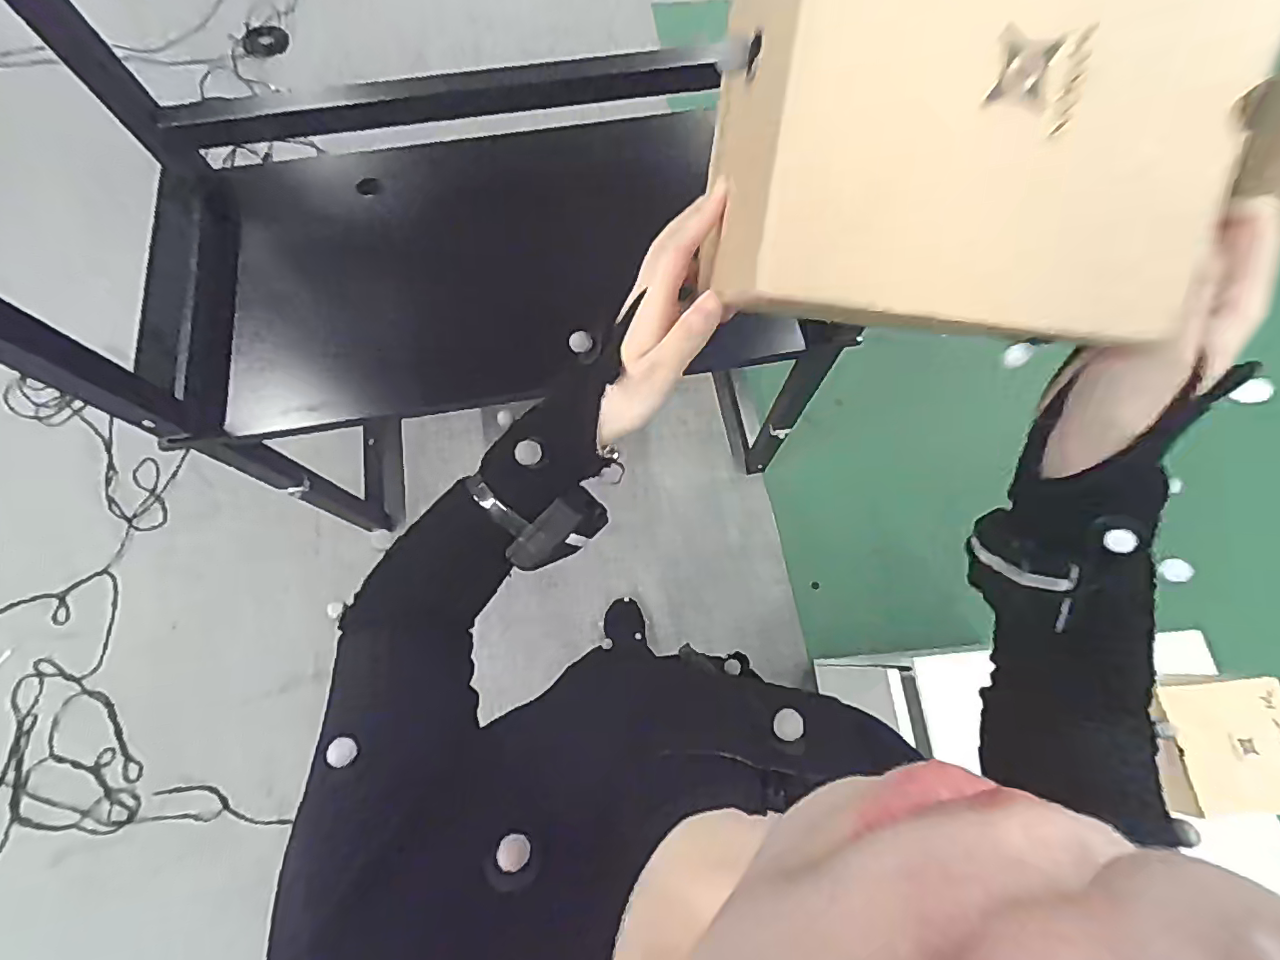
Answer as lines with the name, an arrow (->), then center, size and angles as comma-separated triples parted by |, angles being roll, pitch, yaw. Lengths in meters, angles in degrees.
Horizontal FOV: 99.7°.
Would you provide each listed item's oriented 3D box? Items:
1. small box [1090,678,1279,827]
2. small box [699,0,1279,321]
small box -> 0.806, 0.381, 0.782 | 0.179, 0.176, 0.168 | -5, 72, 0
small box -> 0.129, -0.166, 0.246 | 0.179, 0.176, 0.168 | 5, 107, -4
